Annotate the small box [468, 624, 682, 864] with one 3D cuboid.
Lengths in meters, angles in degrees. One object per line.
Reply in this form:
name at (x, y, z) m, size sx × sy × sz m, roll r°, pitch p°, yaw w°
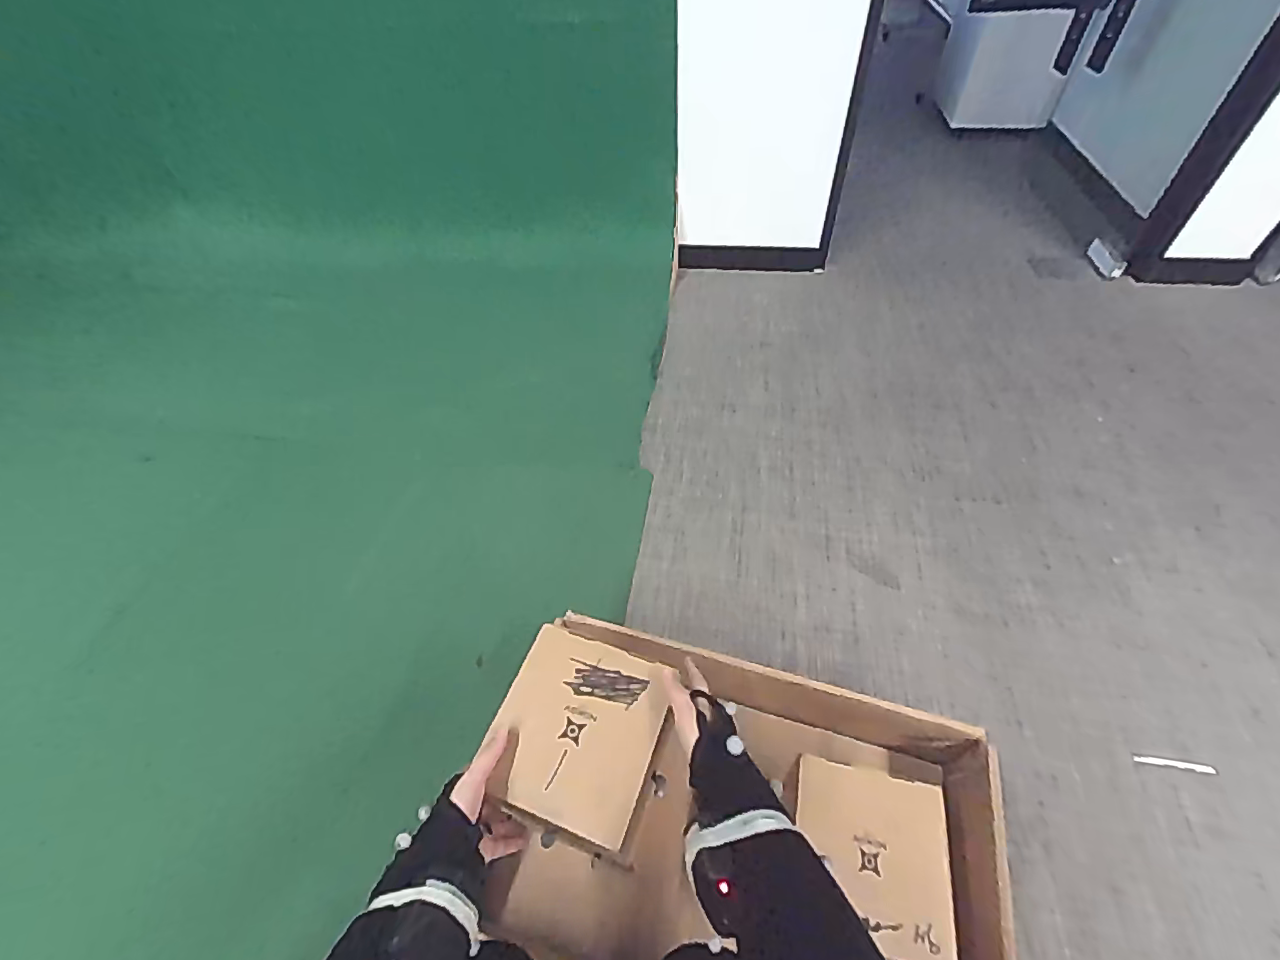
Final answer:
small box at (-0.060, 0.297, 0.608) m, size 0.168 × 0.176 × 0.179 m, roll 15°, pitch 54°, yaw 15°
